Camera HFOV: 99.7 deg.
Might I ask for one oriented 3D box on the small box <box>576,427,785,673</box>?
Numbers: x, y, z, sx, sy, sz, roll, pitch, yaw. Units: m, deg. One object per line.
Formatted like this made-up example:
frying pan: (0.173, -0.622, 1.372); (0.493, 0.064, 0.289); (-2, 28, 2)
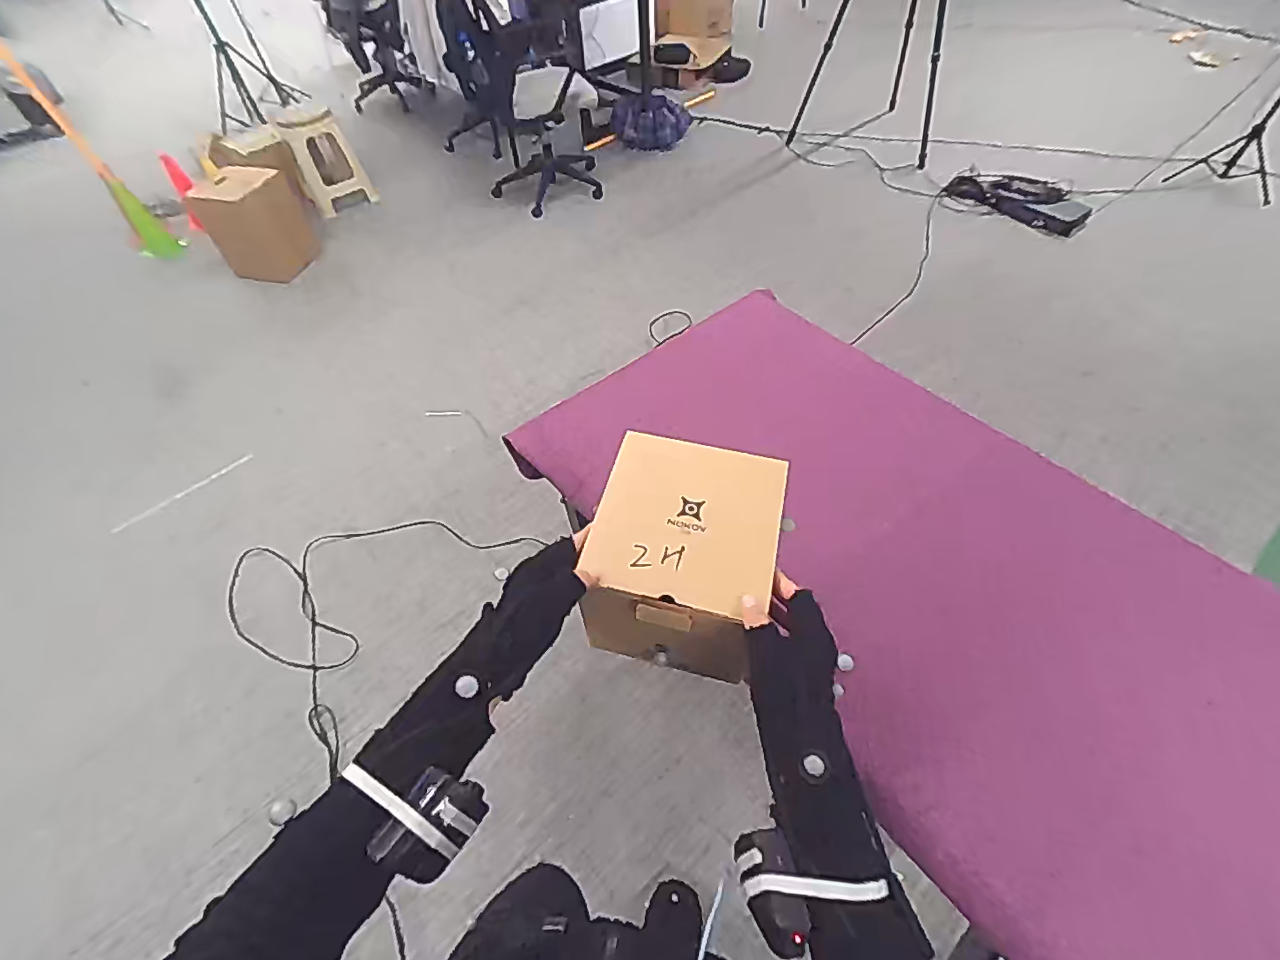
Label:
small box: (0.044, 0.076, 0.566); (0.168, 0.176, 0.179); (12, 56, 10)
